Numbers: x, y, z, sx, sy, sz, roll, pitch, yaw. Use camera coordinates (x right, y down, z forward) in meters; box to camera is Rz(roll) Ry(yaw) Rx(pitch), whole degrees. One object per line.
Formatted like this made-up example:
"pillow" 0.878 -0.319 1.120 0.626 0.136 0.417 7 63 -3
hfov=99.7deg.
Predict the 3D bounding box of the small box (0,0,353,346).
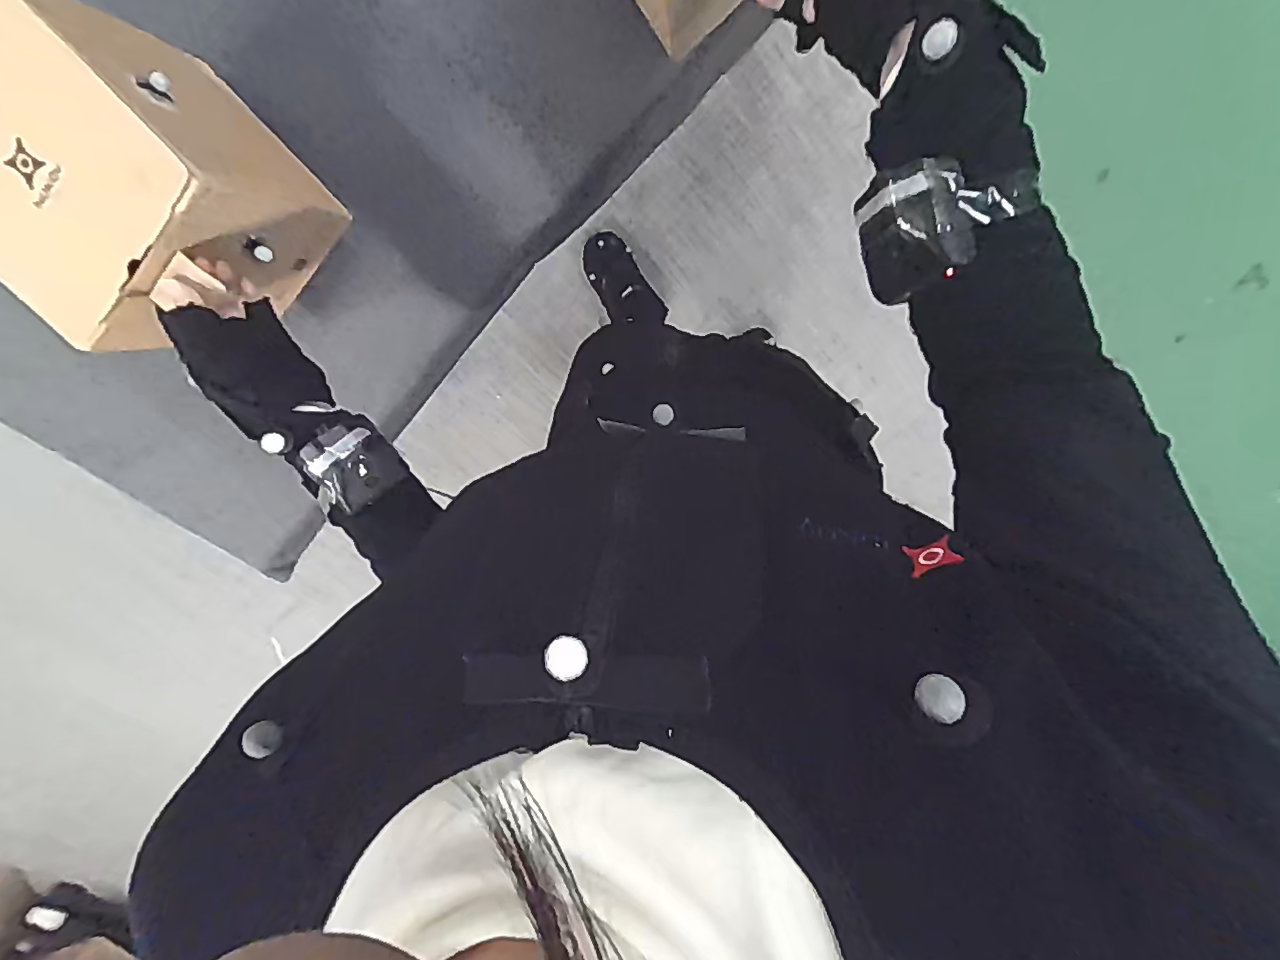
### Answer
"small box" -0.382 -0.234 0.439 0.168 0.176 0.179 -40 98 16

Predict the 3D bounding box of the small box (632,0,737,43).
"small box" 0.034 -0.430 0.344 0.168 0.176 0.179 -34 105 19
